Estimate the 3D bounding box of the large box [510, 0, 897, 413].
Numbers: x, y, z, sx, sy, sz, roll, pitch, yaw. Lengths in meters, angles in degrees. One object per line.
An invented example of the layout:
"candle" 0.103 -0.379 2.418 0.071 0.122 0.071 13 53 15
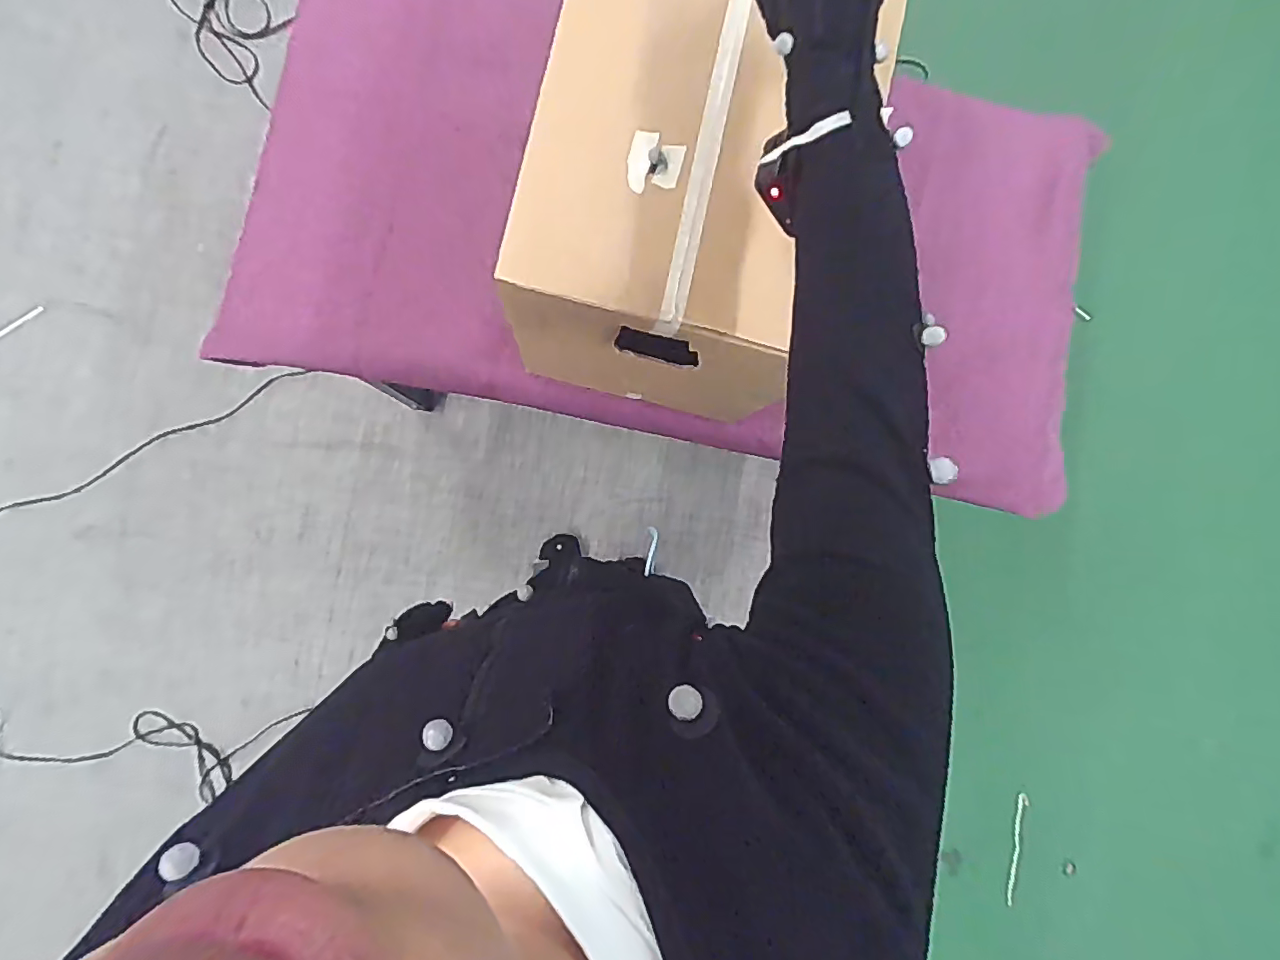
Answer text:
"large box" 0.053 -0.330 0.657 0.320 0.320 0.408 13 86 -5
